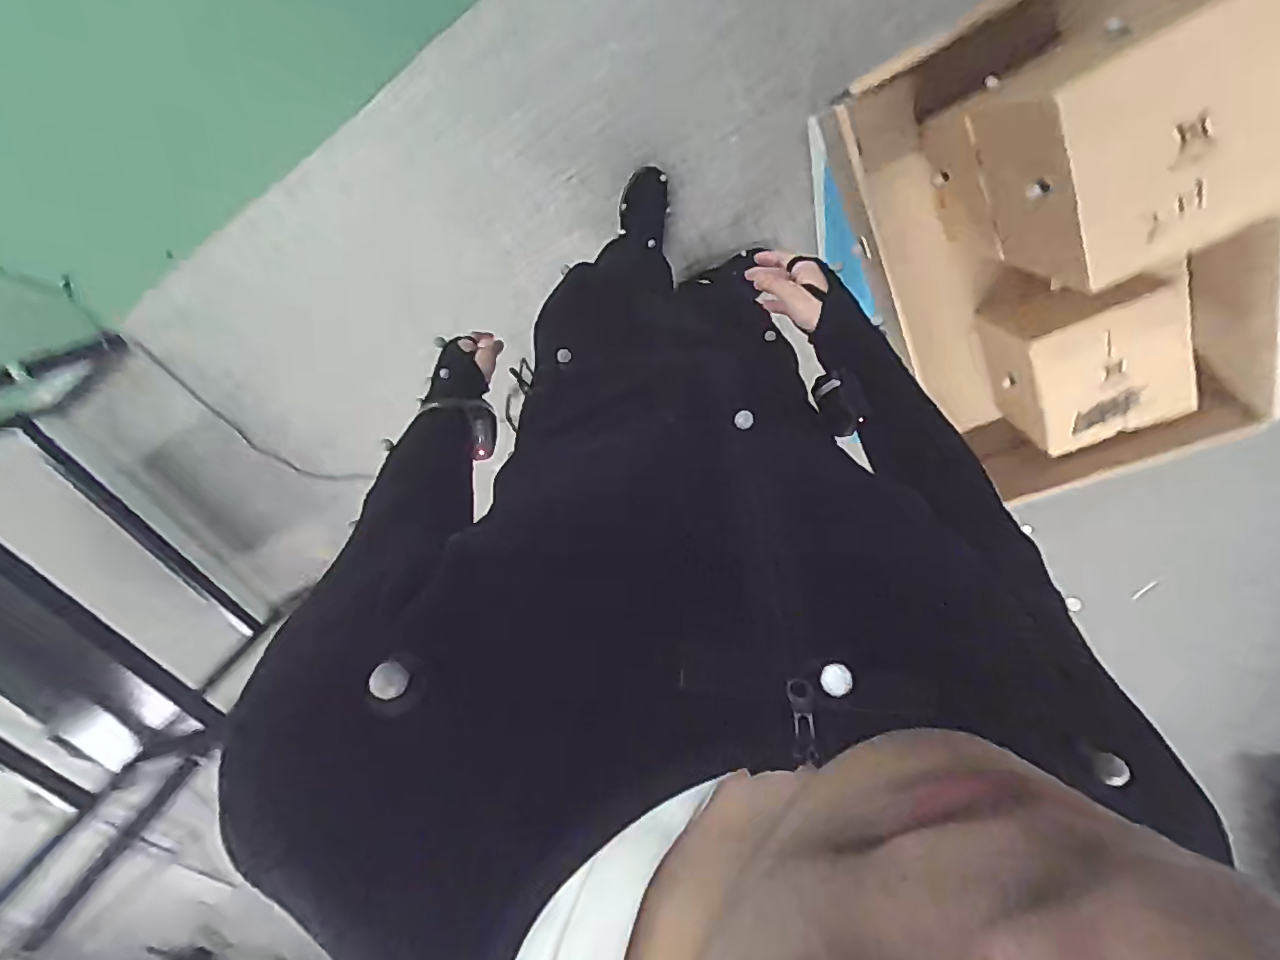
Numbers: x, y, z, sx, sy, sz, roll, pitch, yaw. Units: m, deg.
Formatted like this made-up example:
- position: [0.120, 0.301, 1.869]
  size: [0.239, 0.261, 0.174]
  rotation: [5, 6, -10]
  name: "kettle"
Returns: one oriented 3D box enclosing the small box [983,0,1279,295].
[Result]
- position: [0.446, -0.300, 0.494]
  size: [0.168, 0.176, 0.179]
  rotation: [-23, 115, 20]
  name: "small box"
